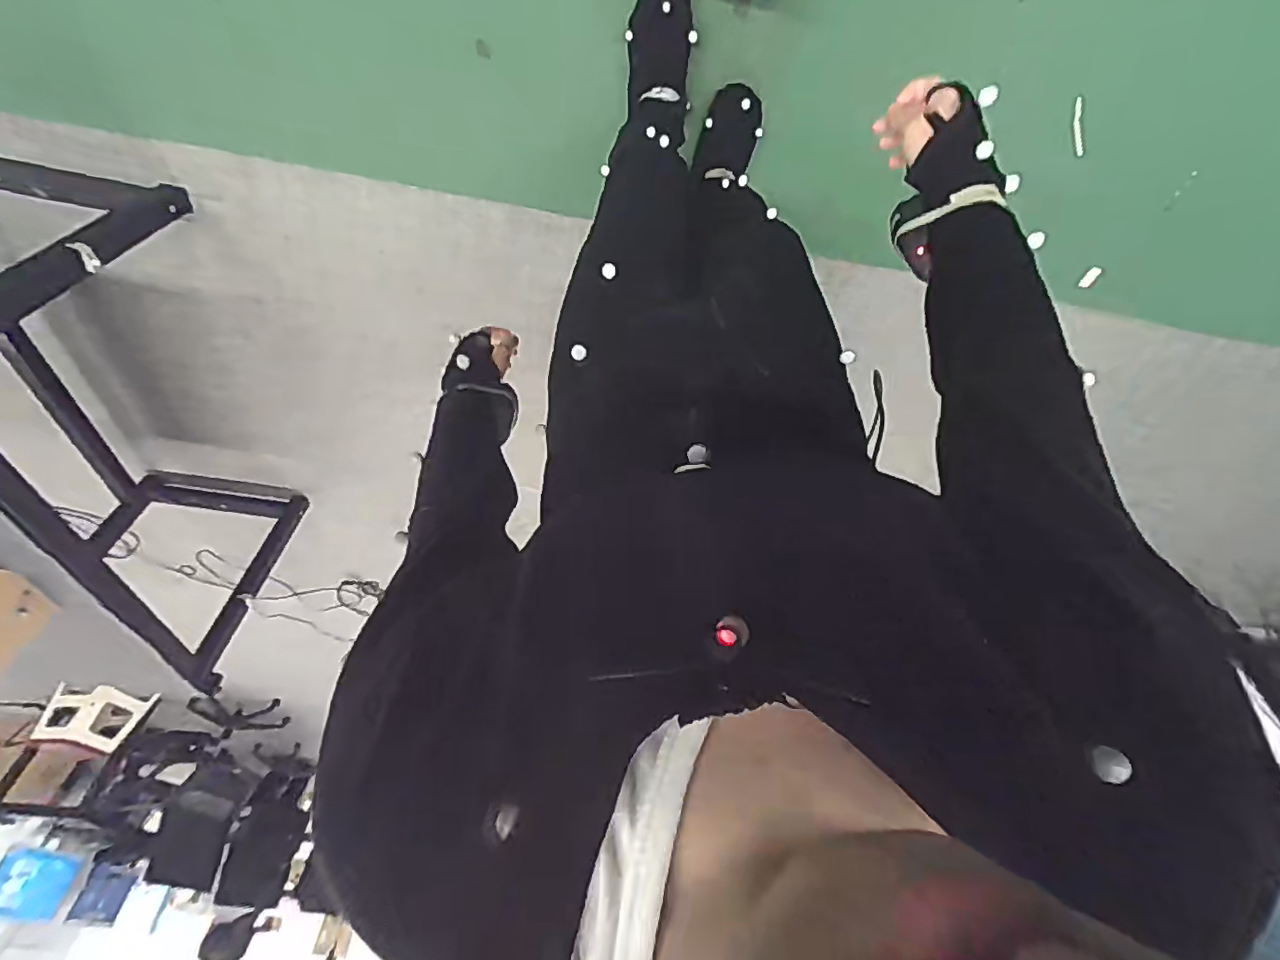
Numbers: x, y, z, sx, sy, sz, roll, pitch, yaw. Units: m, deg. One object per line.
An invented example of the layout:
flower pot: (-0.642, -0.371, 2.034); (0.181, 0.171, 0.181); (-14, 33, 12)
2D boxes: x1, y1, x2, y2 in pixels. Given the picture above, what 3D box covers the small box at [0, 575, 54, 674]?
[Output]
small box: (-1.395, 0.295, 1.106); (0.179, 0.176, 0.168); (9, 137, -5)
